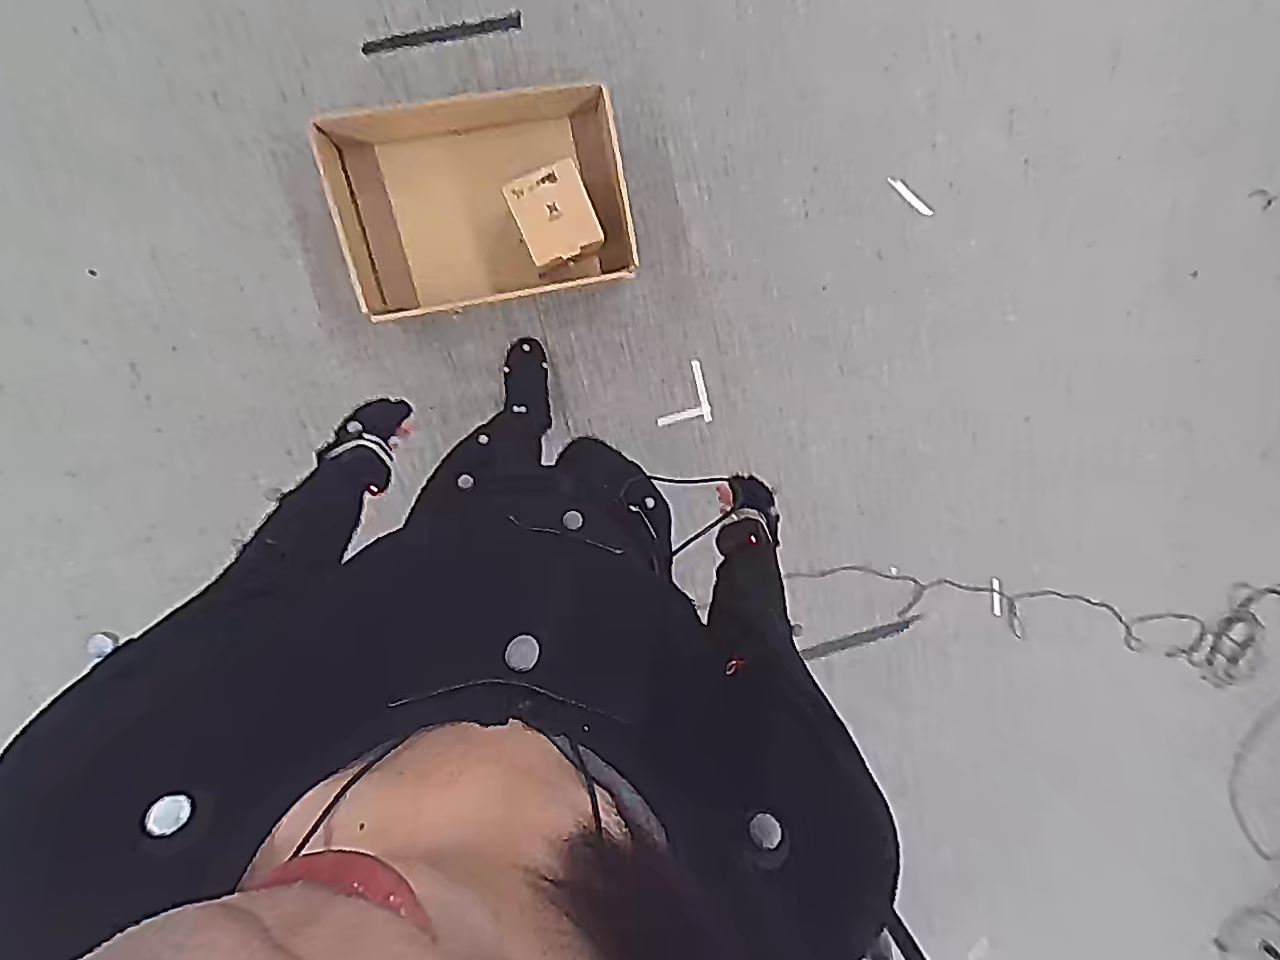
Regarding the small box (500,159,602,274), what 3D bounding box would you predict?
[{"bbox_3d":[-0.200,-0.584,1.226,0.168,0.176,0.179,-25,106,-4],"label":"small box"}]
